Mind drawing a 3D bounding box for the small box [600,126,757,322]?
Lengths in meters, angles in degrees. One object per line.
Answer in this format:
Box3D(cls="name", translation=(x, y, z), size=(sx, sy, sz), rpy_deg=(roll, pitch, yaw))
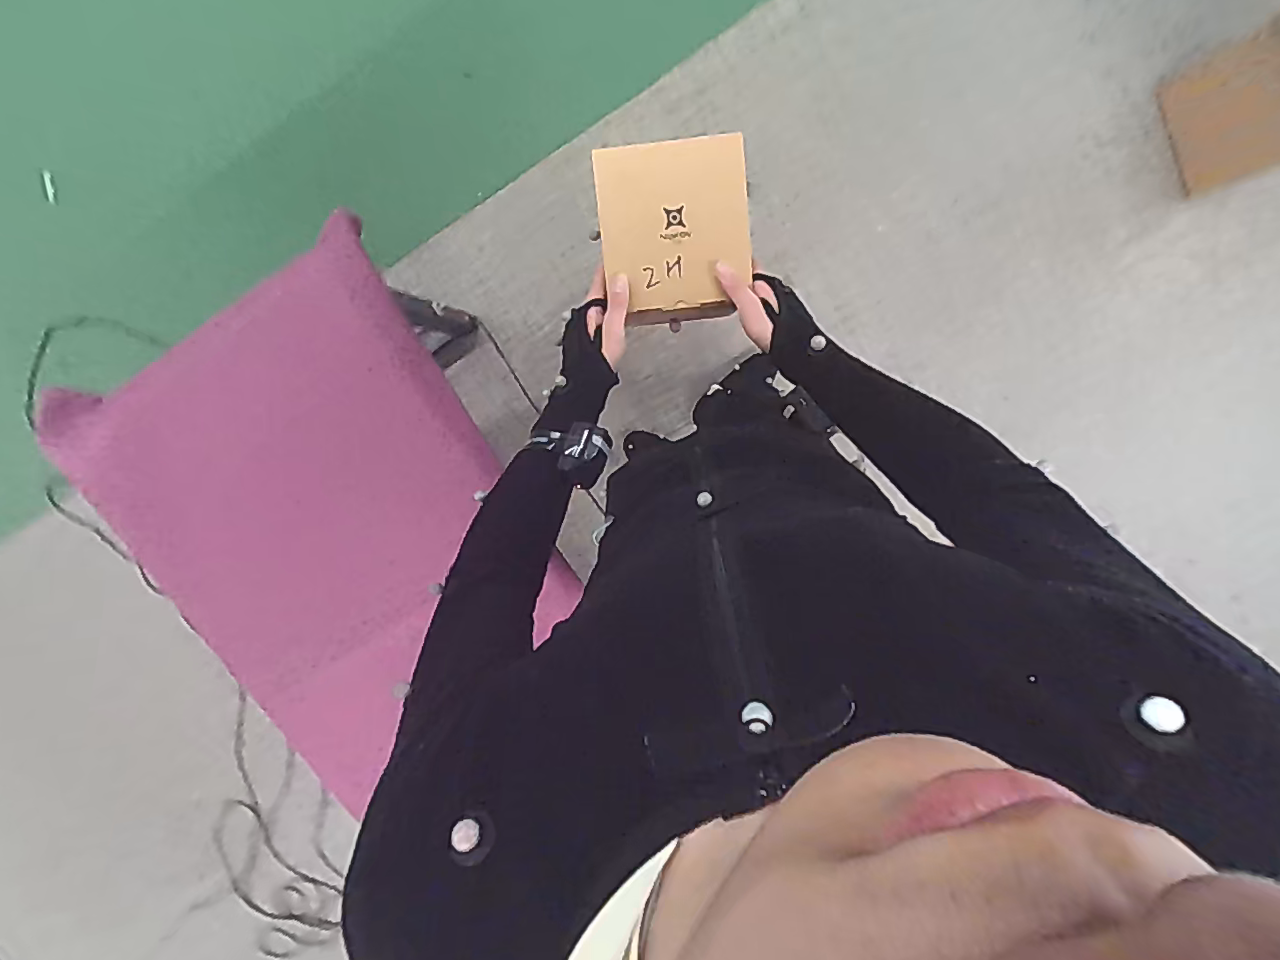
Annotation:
Box3D(cls="small box", translation=(0.043, -0.299, 0.668), size=(0.168, 0.176, 0.179), rpy_deg=(-5, 101, 2))
